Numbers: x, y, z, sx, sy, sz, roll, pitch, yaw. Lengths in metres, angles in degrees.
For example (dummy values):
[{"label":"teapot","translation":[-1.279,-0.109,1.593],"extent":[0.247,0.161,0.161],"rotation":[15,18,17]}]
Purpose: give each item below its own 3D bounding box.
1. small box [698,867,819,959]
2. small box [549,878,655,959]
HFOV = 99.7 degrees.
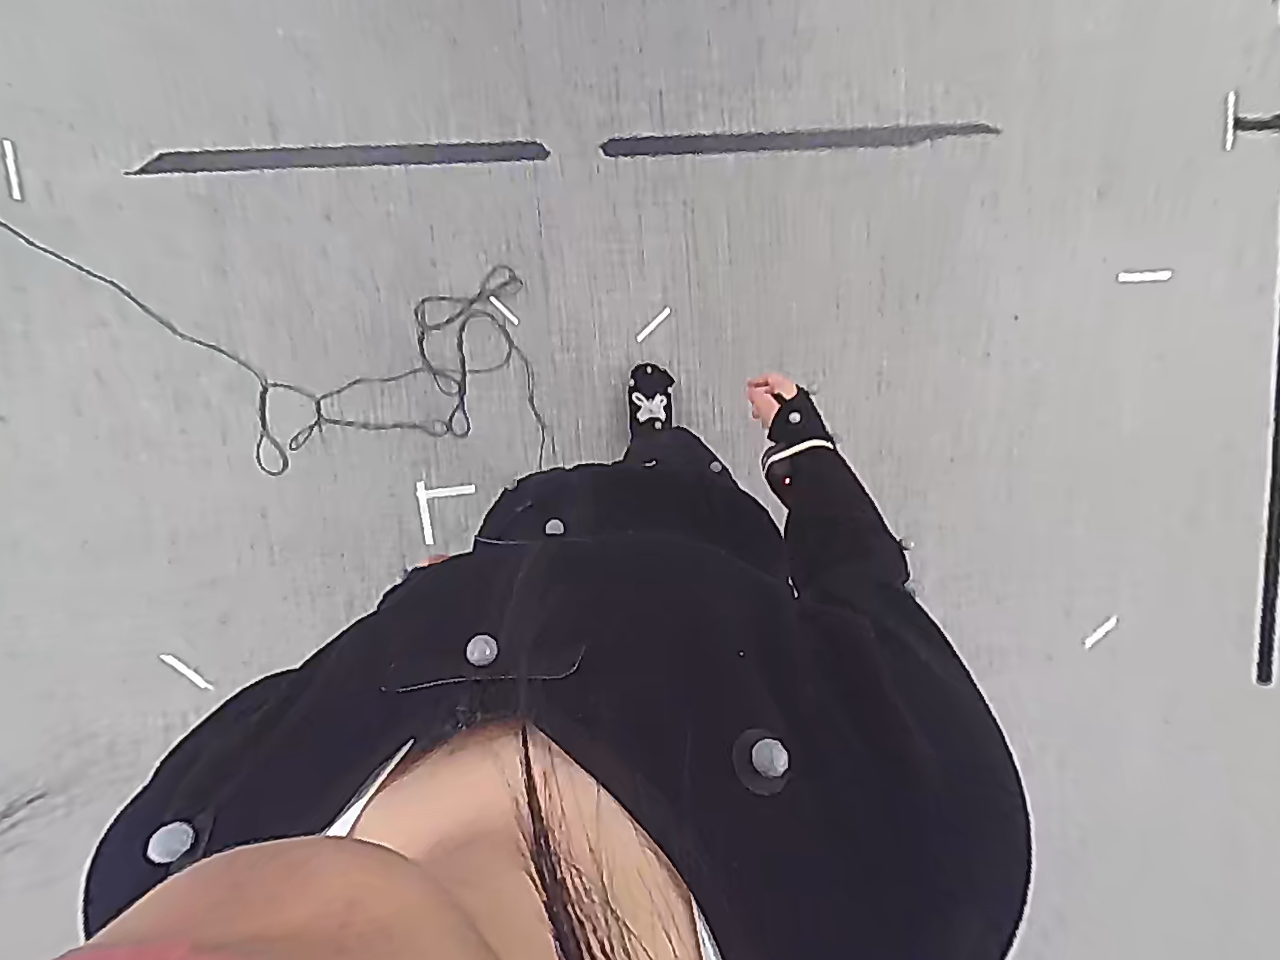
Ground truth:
[{"label":"small box","translation":[0.189,0.780,0.899],"extent":[0.168,0.176,0.179],"rotation":[-2,95,-1]},{"label":"small box","translation":[-0.062,0.795,0.891],"extent":[0.168,0.176,0.179],"rotation":[-2,96,-2]}]
